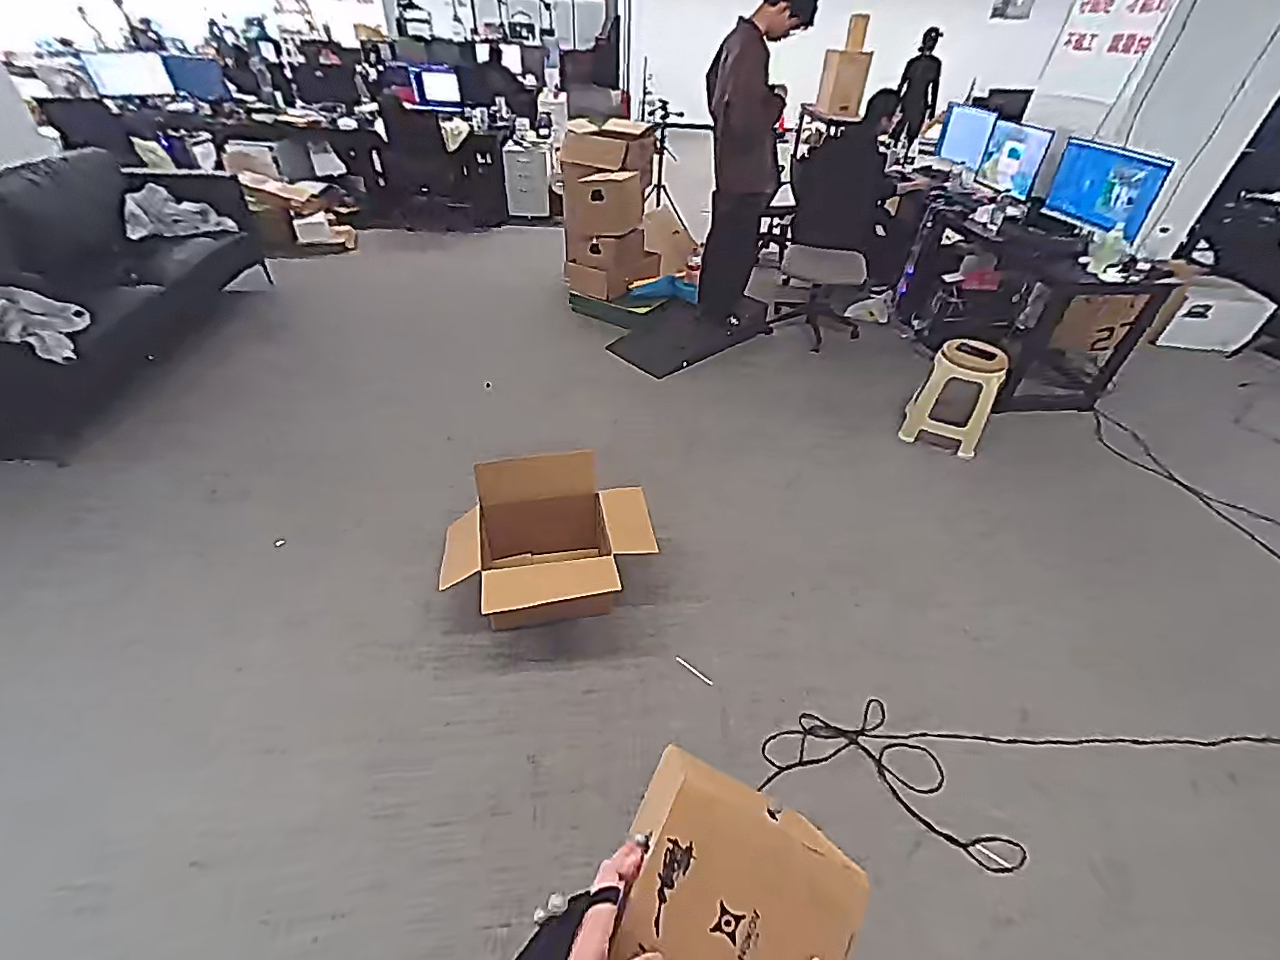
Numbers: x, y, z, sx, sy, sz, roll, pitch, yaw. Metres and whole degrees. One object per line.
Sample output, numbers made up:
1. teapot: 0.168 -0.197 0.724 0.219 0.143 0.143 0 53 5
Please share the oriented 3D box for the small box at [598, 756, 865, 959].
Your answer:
1. small box: 0.075 0.389 0.516 0.179 0.176 0.168 26 72 6
